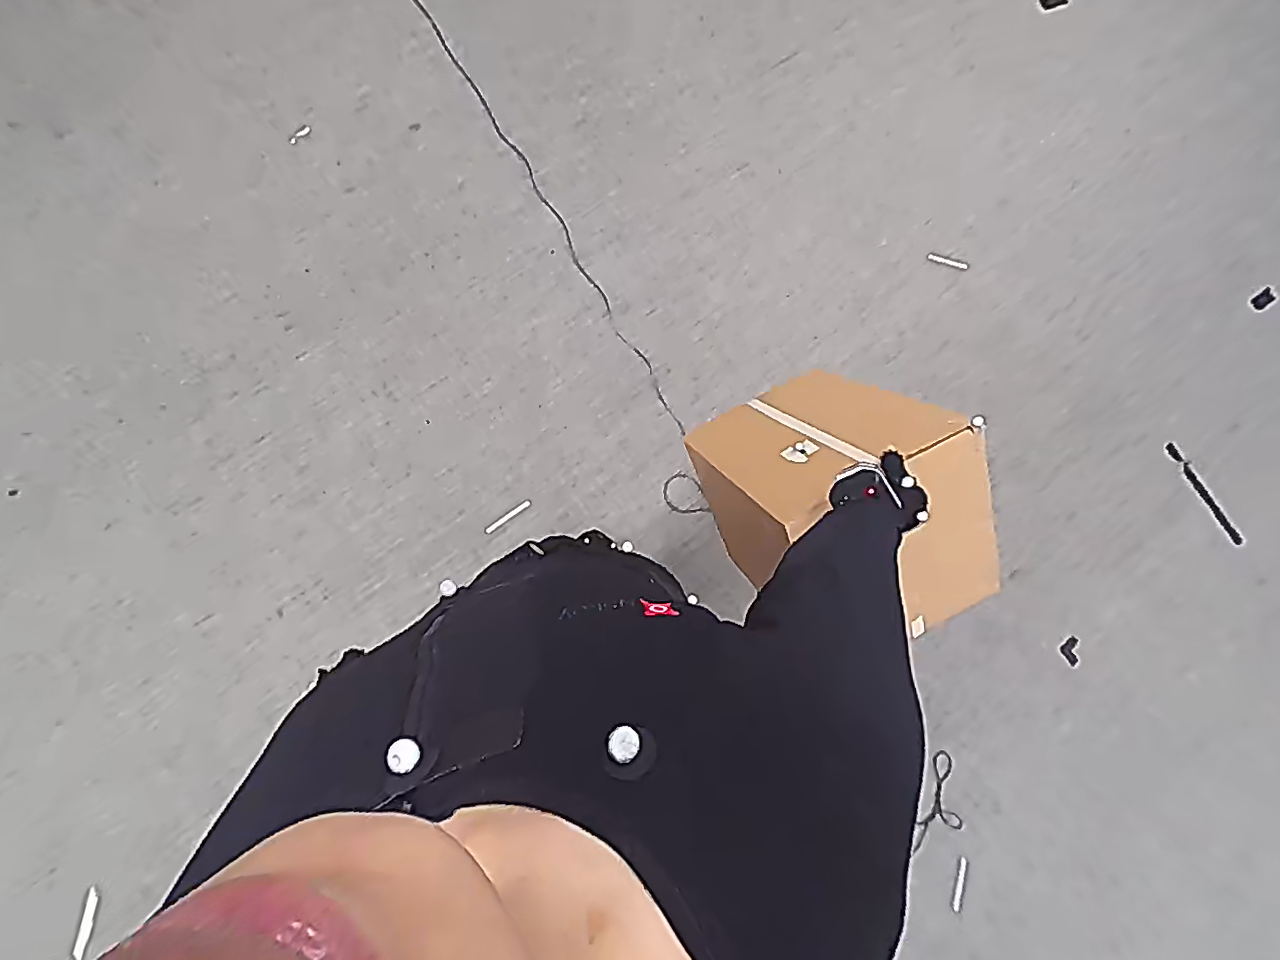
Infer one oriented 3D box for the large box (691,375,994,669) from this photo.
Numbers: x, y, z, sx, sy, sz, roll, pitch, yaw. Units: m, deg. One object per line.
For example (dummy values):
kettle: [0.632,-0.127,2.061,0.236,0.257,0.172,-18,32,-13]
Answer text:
large box: [0.342,0.046,0.977,0.320,0.408,0.320,-27,117,-5]
